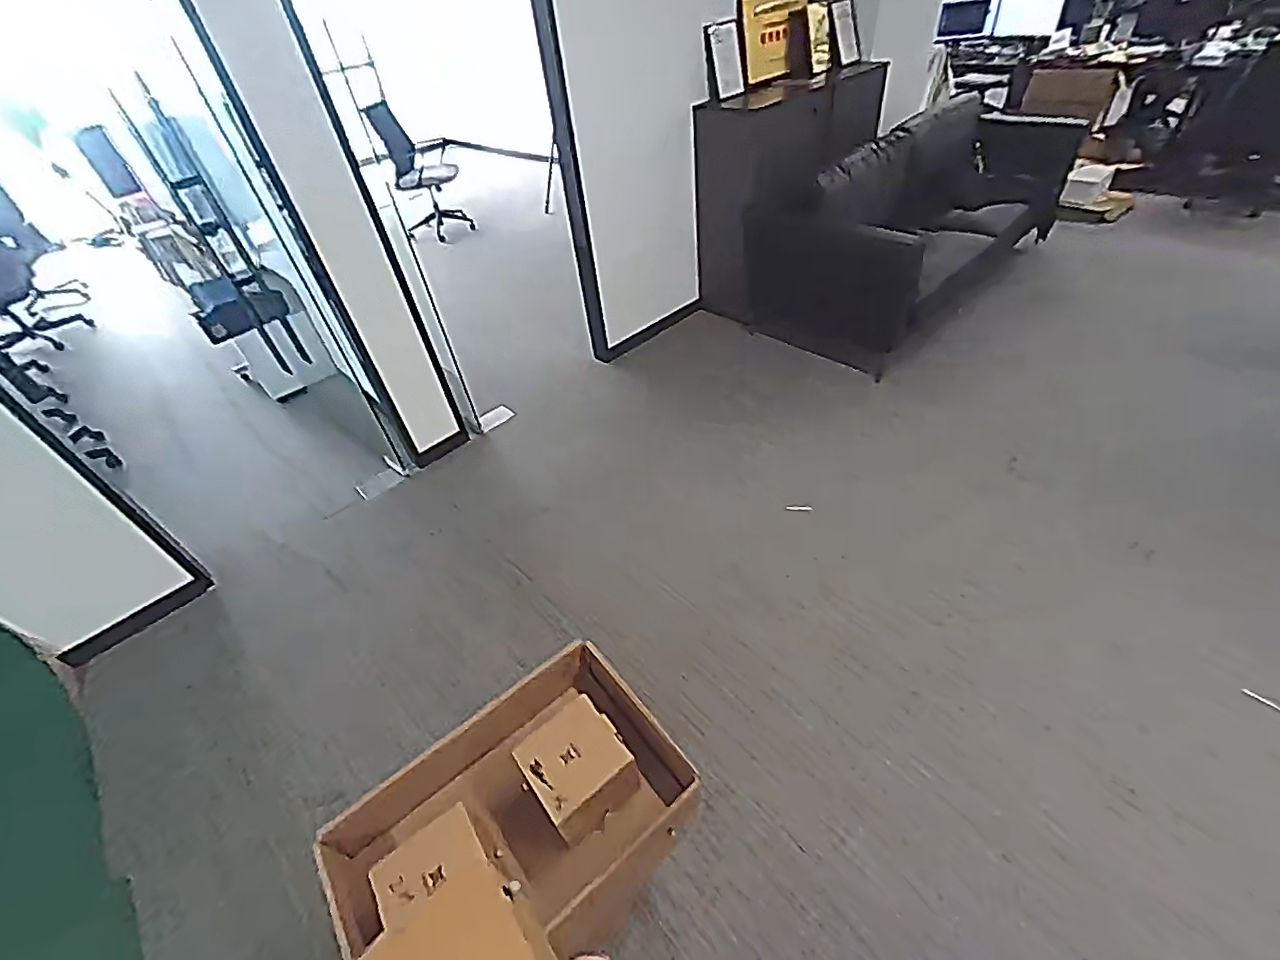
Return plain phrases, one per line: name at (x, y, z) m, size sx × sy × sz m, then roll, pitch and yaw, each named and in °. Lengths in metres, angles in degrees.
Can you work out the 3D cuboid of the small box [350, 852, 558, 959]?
small box at (-0.155, 0.499, 0.492) m, size 0.168 × 0.176 × 0.179 m, roll -32°, pitch 42°, yaw -26°
